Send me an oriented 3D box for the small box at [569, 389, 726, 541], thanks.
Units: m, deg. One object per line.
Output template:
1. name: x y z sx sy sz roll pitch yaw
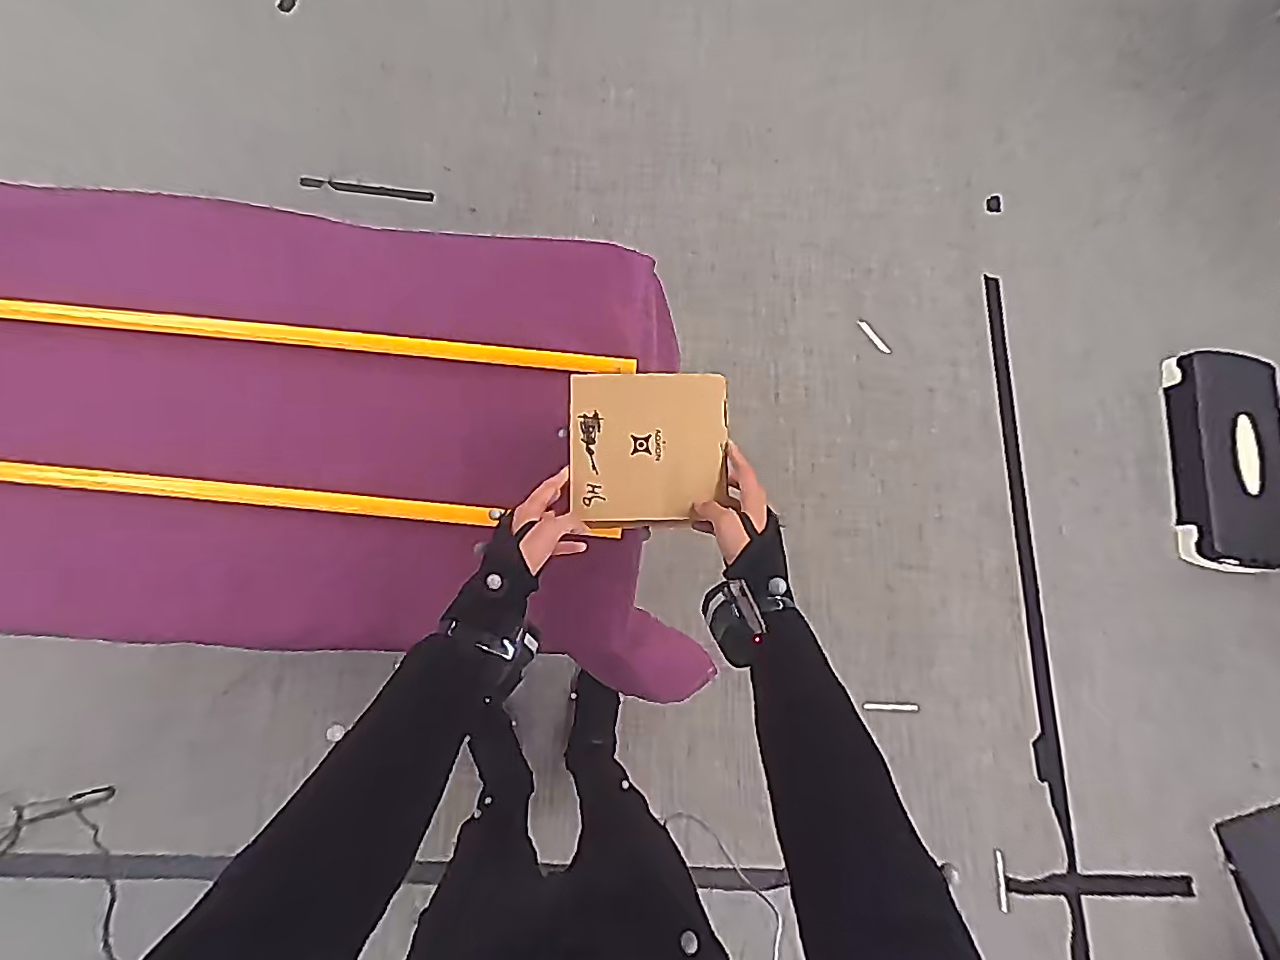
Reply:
1. small box: 0.005 -0.010 0.682 0.179 0.176 0.168 0 82 -2
